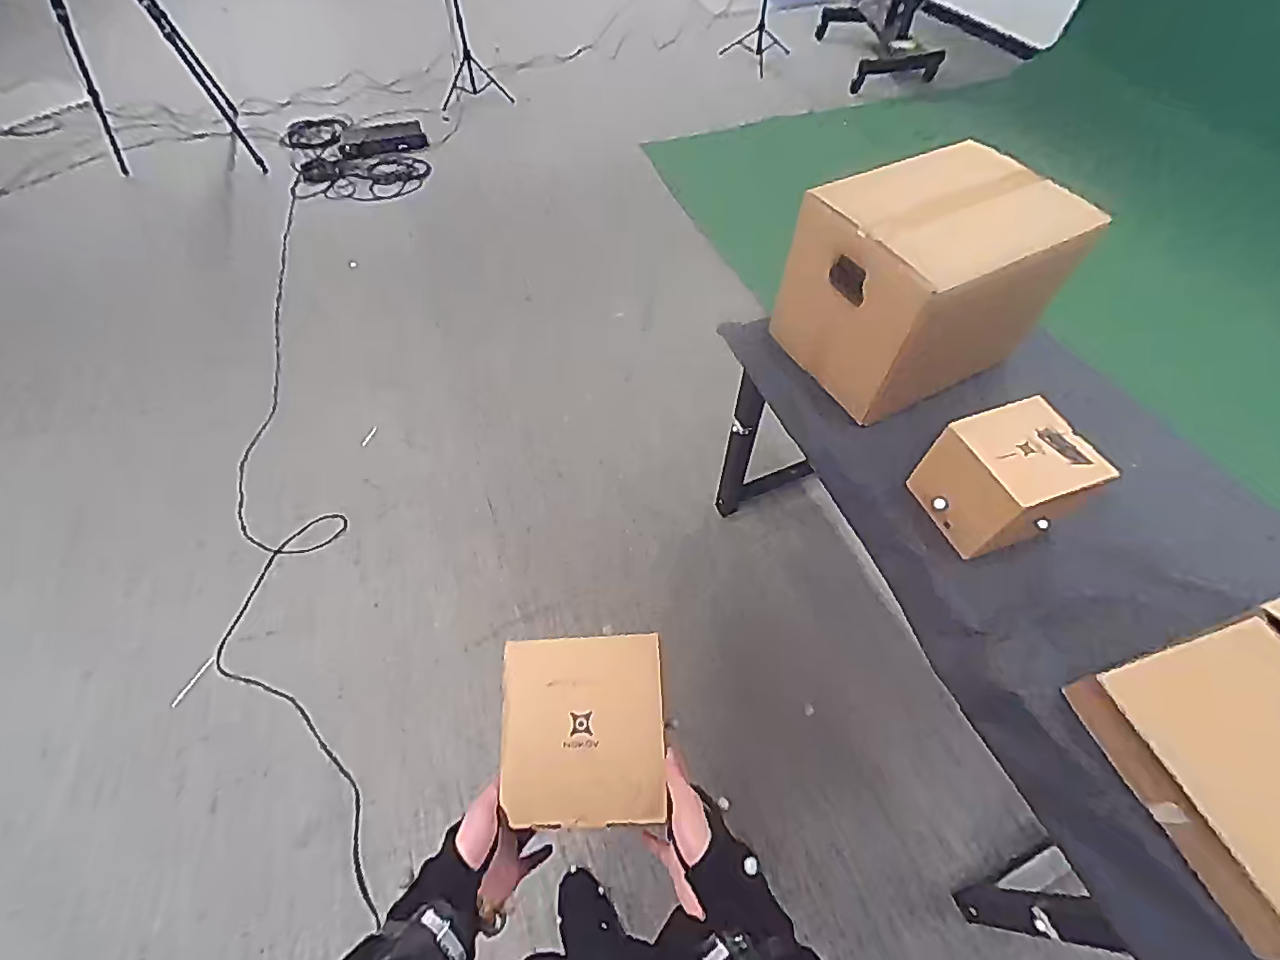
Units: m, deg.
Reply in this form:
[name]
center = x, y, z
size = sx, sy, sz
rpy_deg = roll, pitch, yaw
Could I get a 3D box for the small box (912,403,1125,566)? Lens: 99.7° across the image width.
[small box]
center = 0.571, 0.011, 0.846
size = 0.179, 0.176, 0.168
rpy_deg = -17, 58, -11
